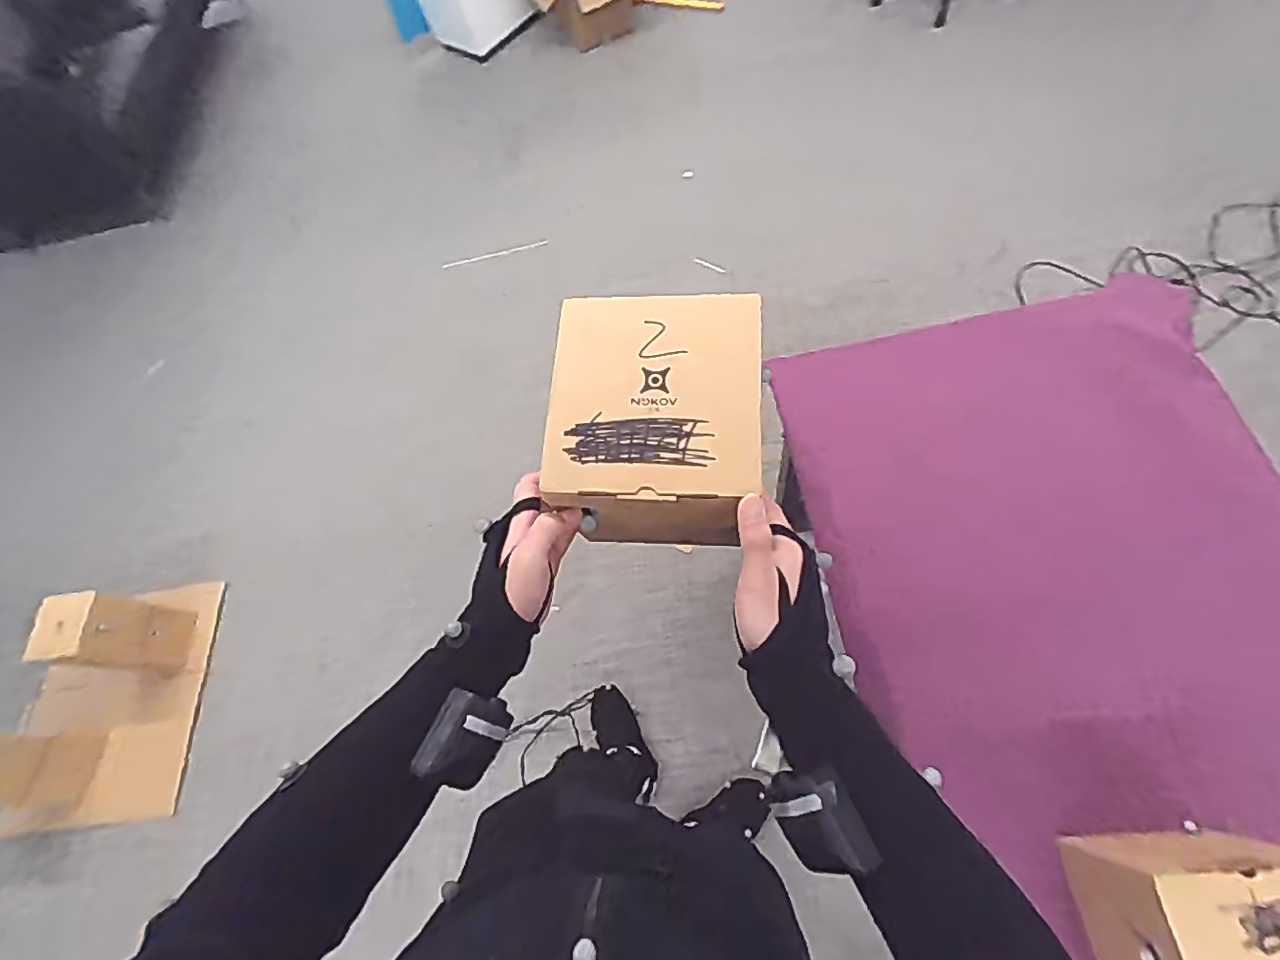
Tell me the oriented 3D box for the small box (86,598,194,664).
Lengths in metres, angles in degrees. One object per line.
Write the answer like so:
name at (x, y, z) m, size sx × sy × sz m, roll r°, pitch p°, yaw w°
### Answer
small box at (-1.552, 0.479, 1.692) m, size 0.168 × 0.176 × 0.179 m, roll -8°, pitch 65°, yaw 6°

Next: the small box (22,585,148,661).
small box at (-1.571, 0.413, 1.546) m, size 0.168 × 0.176 × 0.179 m, roll -8°, pitch 66°, yaw 5°

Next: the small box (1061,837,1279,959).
small box at (0.565, 0.464, 0.528) m, size 0.168 × 0.176 × 0.179 m, roll -8°, pitch 65°, yaw 7°

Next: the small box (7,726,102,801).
small box at (-1.738, 0.818, 1.570) m, size 0.168 × 0.176 × 0.179 m, roll -1°, pitch 66°, yaw 10°

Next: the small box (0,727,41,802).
small box at (-1.758, 0.747, 1.421) m, size 0.168 × 0.176 × 0.179 m, roll -2°, pitch 66°, yaw 10°
